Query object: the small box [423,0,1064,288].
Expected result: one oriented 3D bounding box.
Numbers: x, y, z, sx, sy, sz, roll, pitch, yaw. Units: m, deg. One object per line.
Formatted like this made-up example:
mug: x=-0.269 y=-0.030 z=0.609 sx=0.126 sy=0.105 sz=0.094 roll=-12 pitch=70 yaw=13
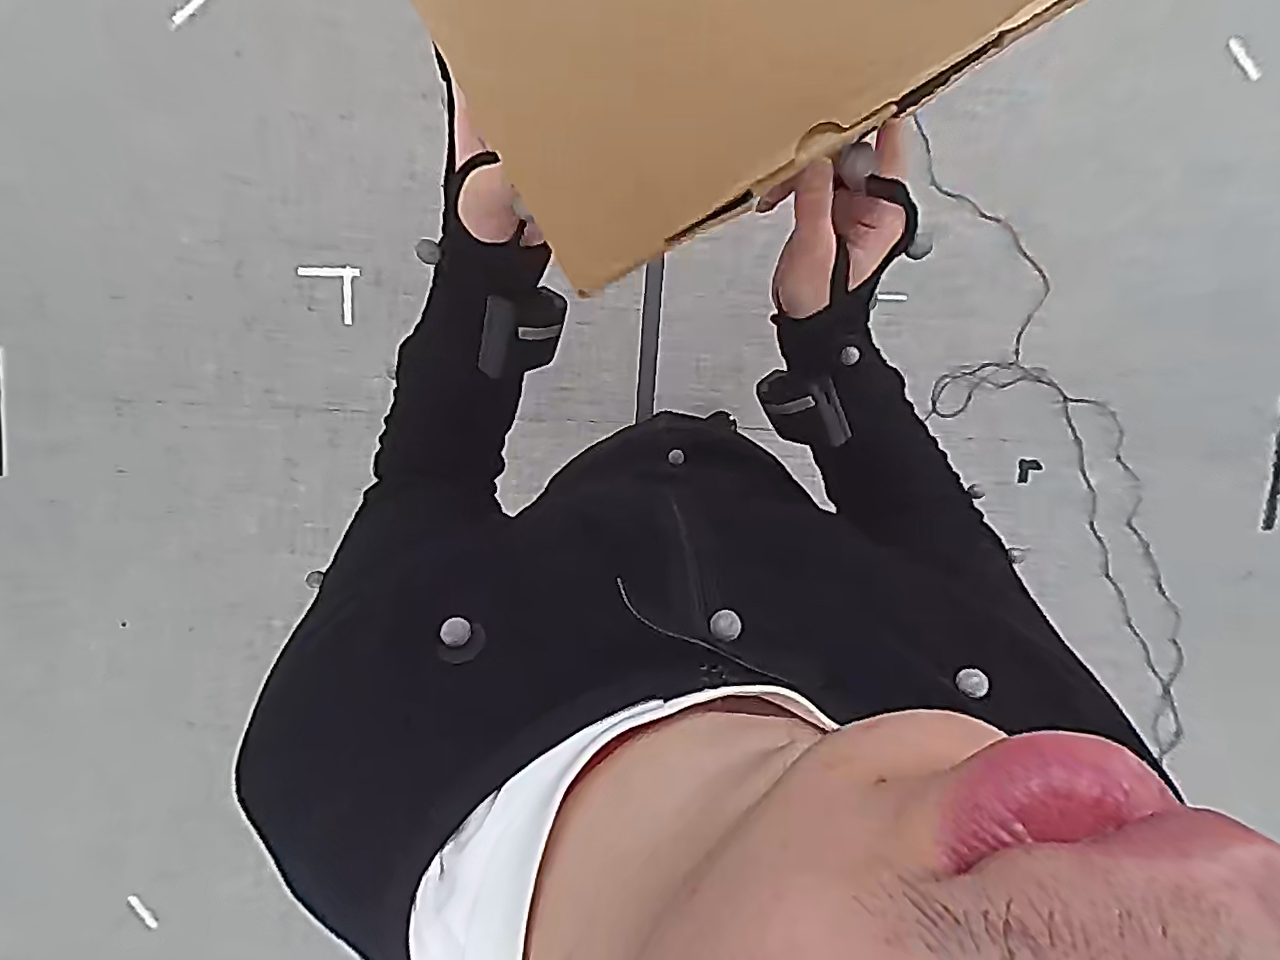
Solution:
small box: x=0.013 y=-0.201 z=0.214 sx=0.168 sy=0.176 sz=0.179 roll=-29 pitch=109 yaw=12
